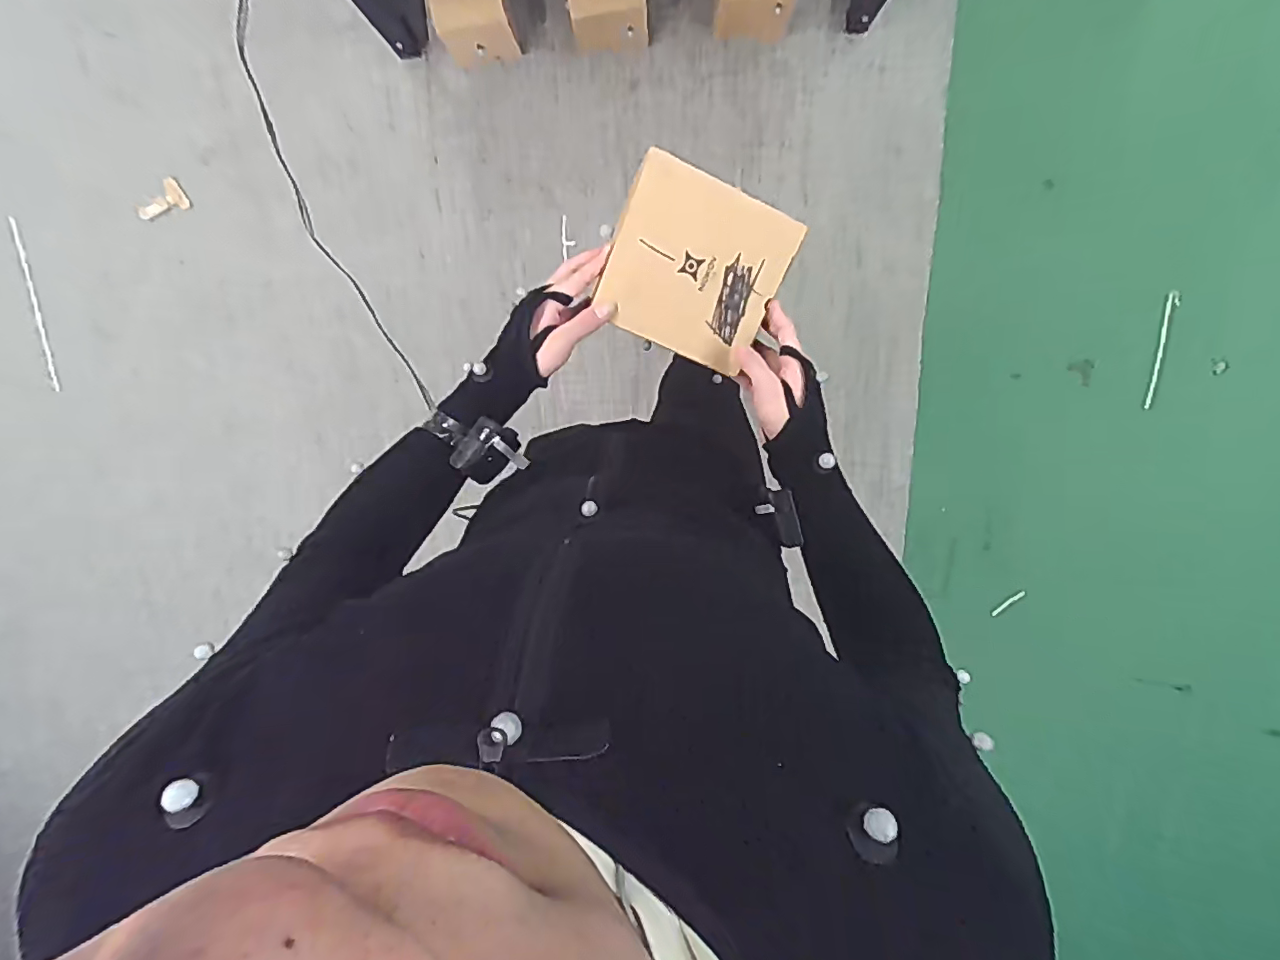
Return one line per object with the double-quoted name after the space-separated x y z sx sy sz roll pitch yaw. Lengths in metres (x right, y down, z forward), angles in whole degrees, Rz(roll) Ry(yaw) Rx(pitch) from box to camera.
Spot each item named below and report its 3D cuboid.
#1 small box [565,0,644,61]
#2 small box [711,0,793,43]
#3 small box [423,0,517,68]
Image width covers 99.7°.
-0.086 -1.129 1.267 0.179 0.176 0.168 -8 101 3 "small box"
0.258 -1.154 1.256 0.179 0.176 0.168 -1 102 1 "small box"
-0.403 -1.113 1.274 0.168 0.176 0.179 -10 102 3 "small box"
